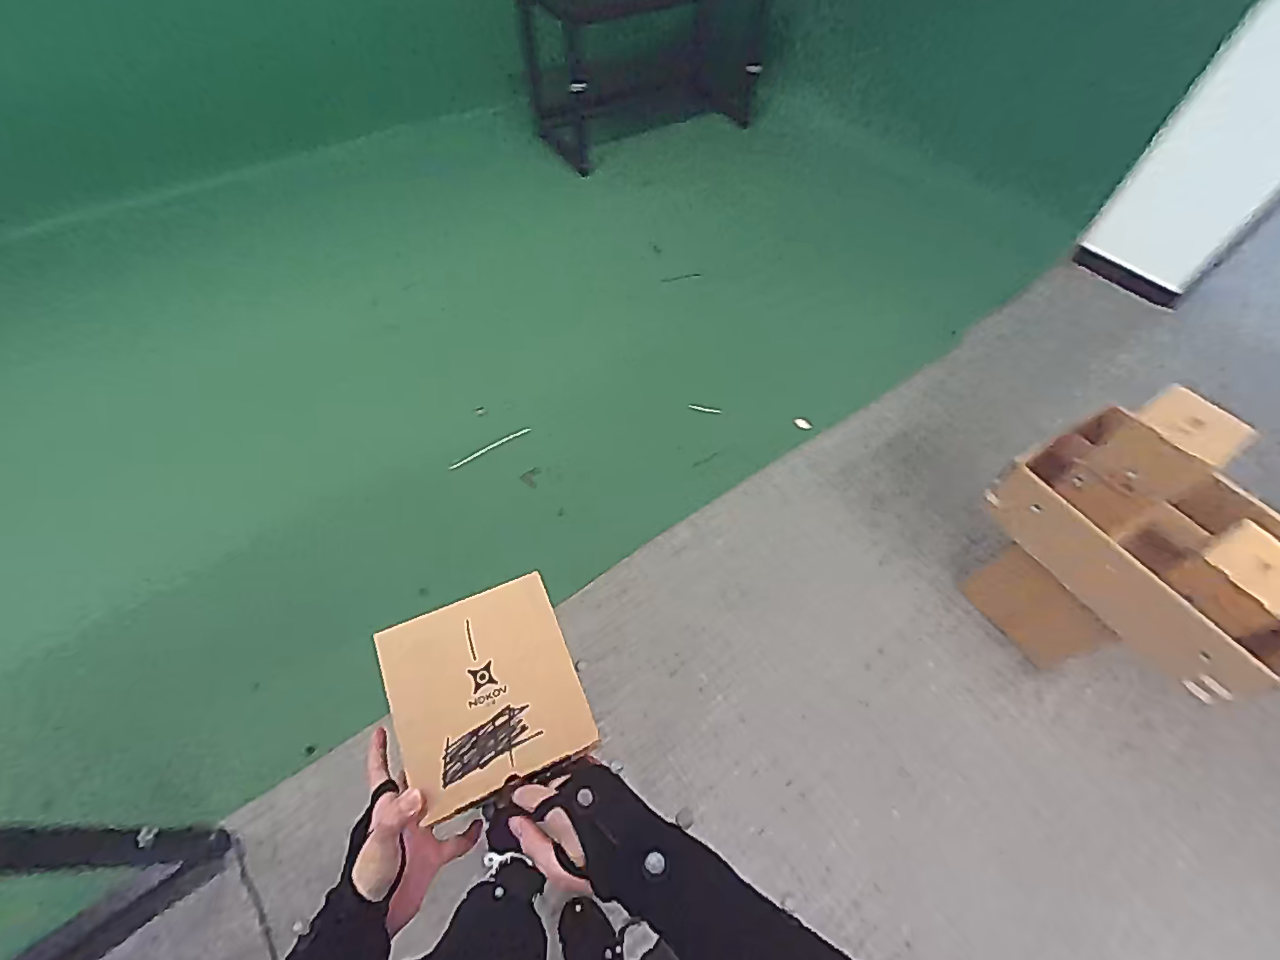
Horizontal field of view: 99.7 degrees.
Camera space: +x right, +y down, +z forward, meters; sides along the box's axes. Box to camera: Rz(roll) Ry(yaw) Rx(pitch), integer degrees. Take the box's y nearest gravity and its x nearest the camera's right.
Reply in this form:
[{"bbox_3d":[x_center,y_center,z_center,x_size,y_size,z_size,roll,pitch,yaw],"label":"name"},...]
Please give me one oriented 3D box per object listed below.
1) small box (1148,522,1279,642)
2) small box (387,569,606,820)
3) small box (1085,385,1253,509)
[{"bbox_3d":[1.292,0.227,1.186,0.179,0.176,0.168,-25,61,-16],"label":"small box"},{"bbox_3d":[-0.140,0.221,0.568,0.168,0.176,0.179,-18,65,-14],"label":"small box"},{"bbox_3d":[1.140,-0.069,1.182,0.179,0.176,0.168,-29,61,-18],"label":"small box"}]
